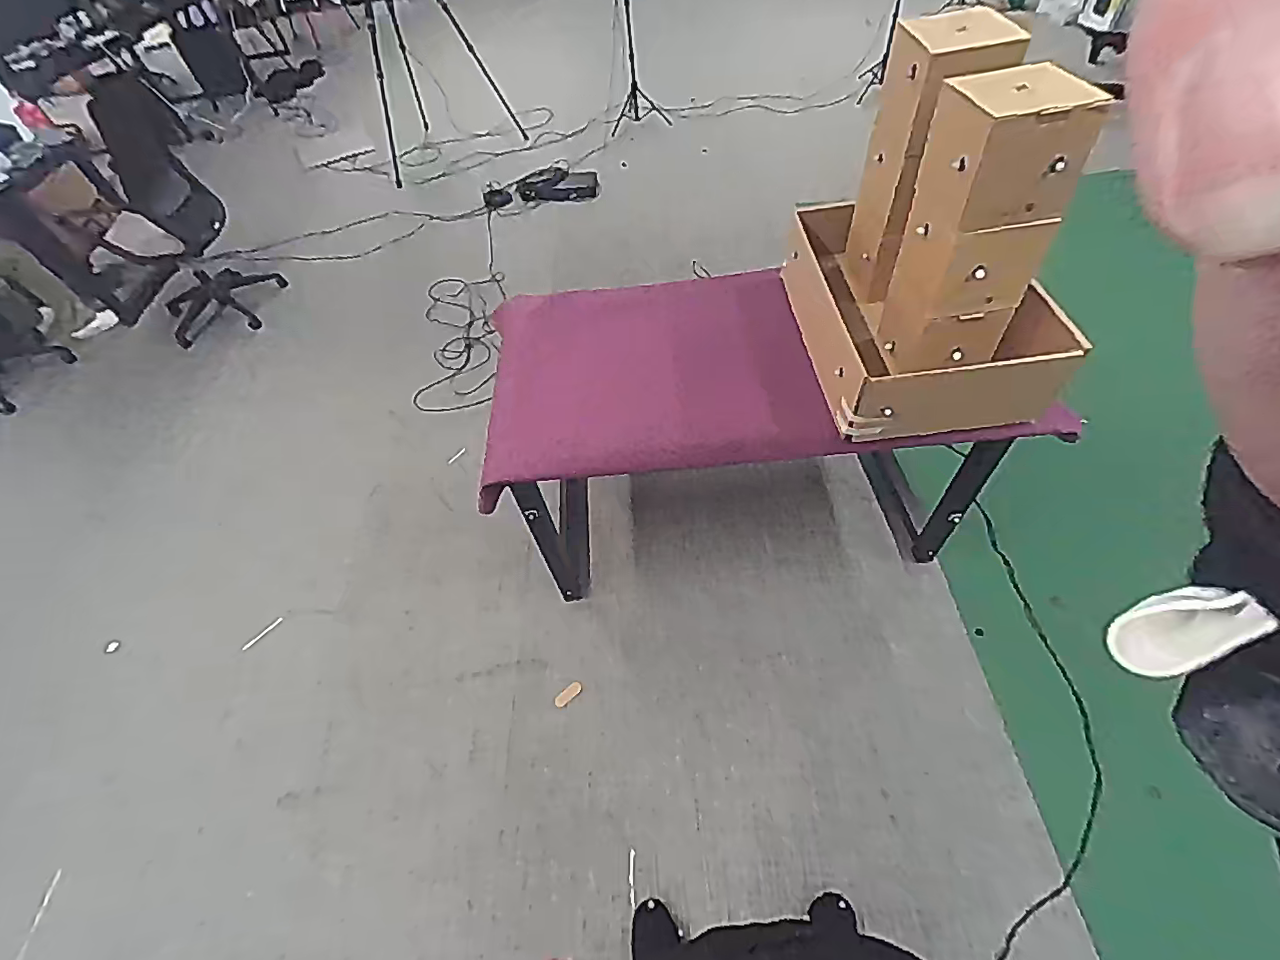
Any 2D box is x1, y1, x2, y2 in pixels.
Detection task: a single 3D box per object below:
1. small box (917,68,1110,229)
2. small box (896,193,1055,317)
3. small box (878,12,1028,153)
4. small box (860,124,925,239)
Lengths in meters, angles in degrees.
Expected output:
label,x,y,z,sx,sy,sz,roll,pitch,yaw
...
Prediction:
label,x,y,z,sx,sy,sz,roll,pitch,yaw
small box,0.572,-0.516,0.859,0.168,0.176,0.179,-7,51,3
small box,0.593,-0.413,0.984,0.168,0.176,0.179,-7,51,4
small box,0.570,-0.735,1.015,0.168,0.176,0.179,-6,54,3
small box,0.587,-0.642,1.151,0.168,0.176,0.179,-8,54,3
